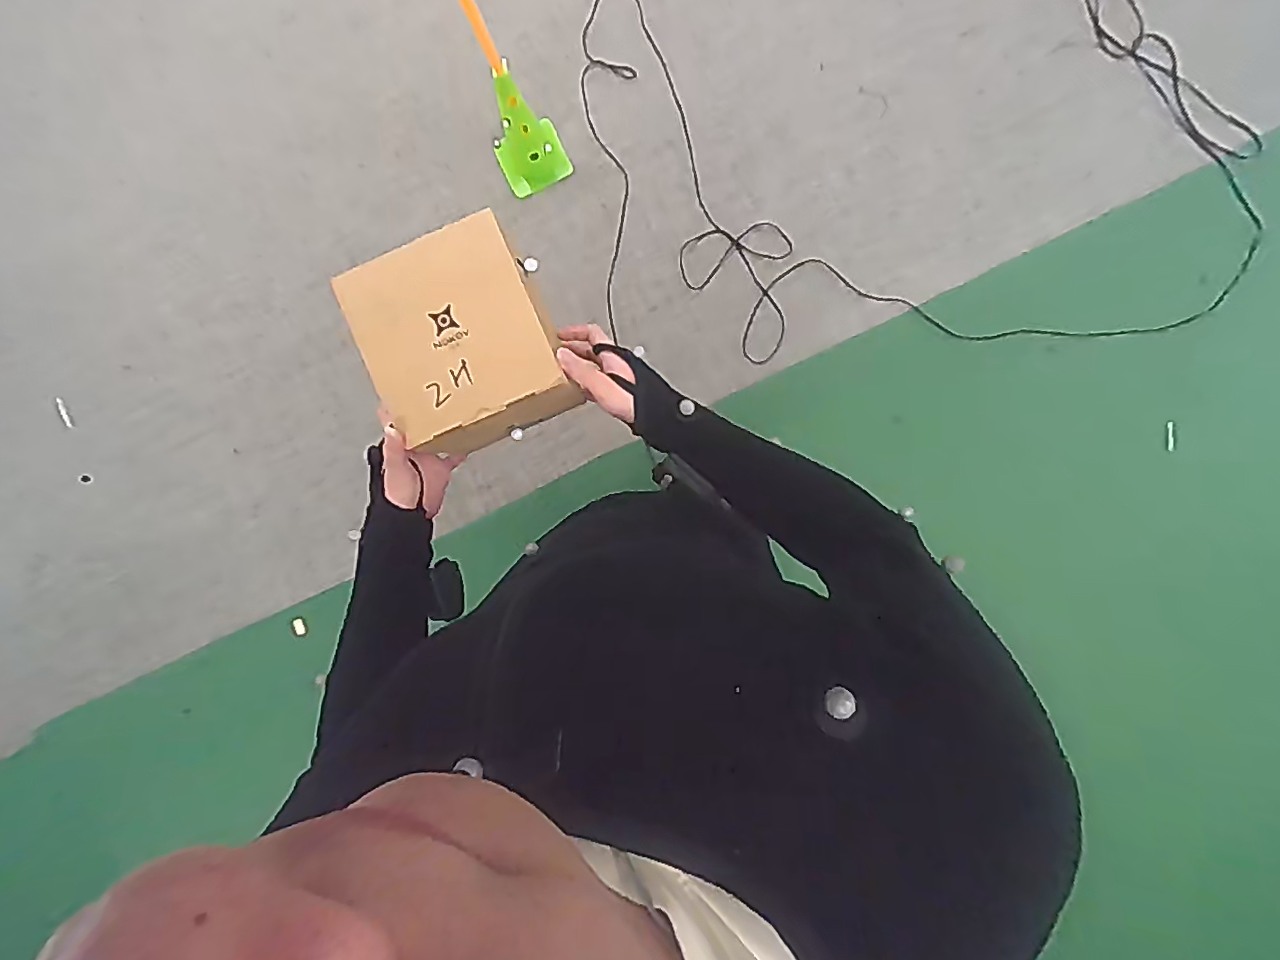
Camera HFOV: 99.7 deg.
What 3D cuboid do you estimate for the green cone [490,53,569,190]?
[{"bbox_3d":[-0.345,-1.029,1.515,0.202,0.368,0.200,-26,89,0],"label":"green cone"}]
